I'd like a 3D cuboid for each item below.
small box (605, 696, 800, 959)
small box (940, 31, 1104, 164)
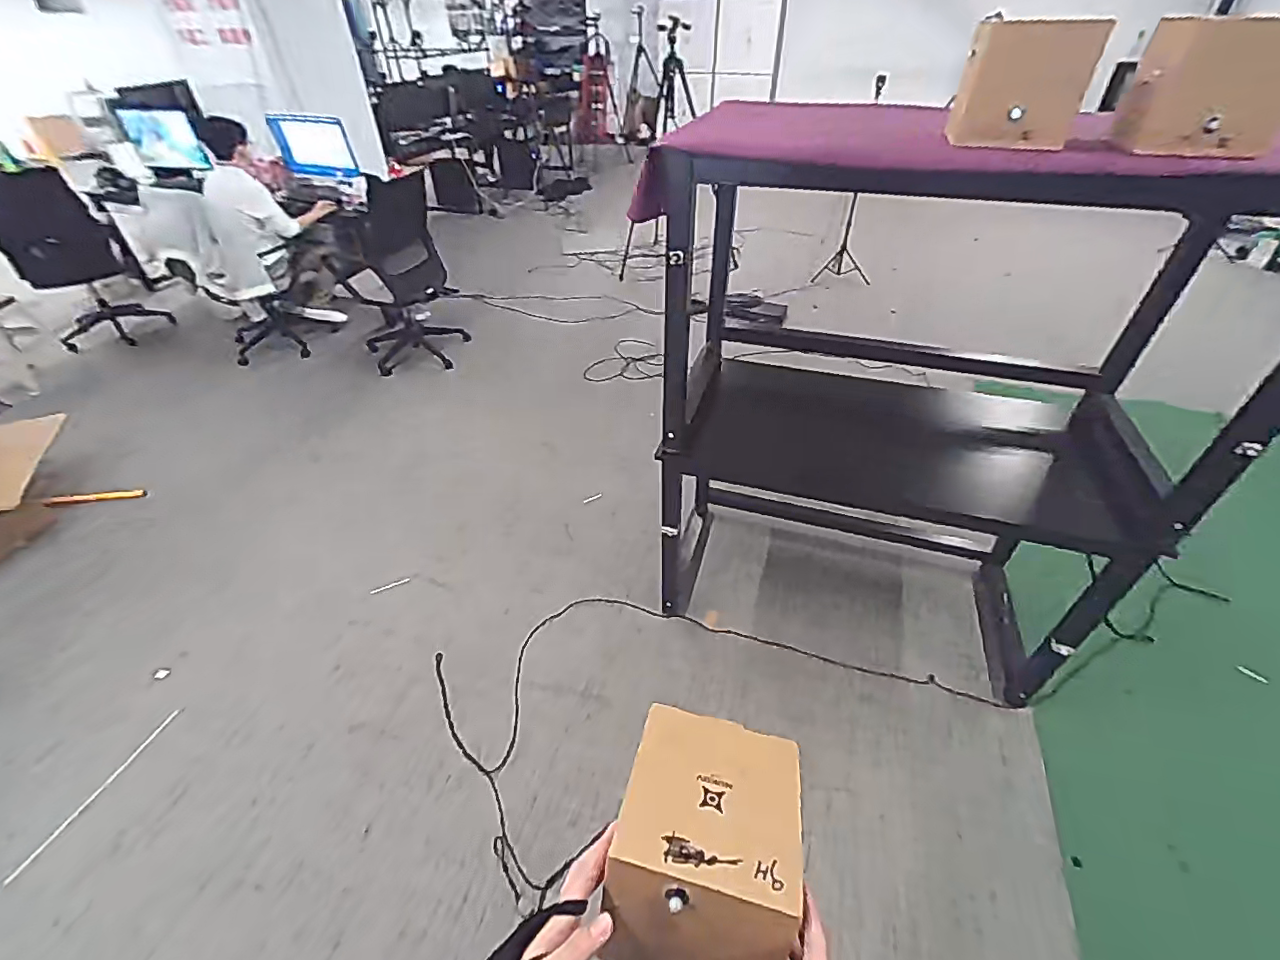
[{"bbox_3d":[0.065,0.371,0.569,0.168,0.176,0.179,11,24,10],"label":"small box"},{"bbox_3d":[0.633,-0.657,0.926,0.168,0.176,0.179,12,42,15],"label":"small box"}]
